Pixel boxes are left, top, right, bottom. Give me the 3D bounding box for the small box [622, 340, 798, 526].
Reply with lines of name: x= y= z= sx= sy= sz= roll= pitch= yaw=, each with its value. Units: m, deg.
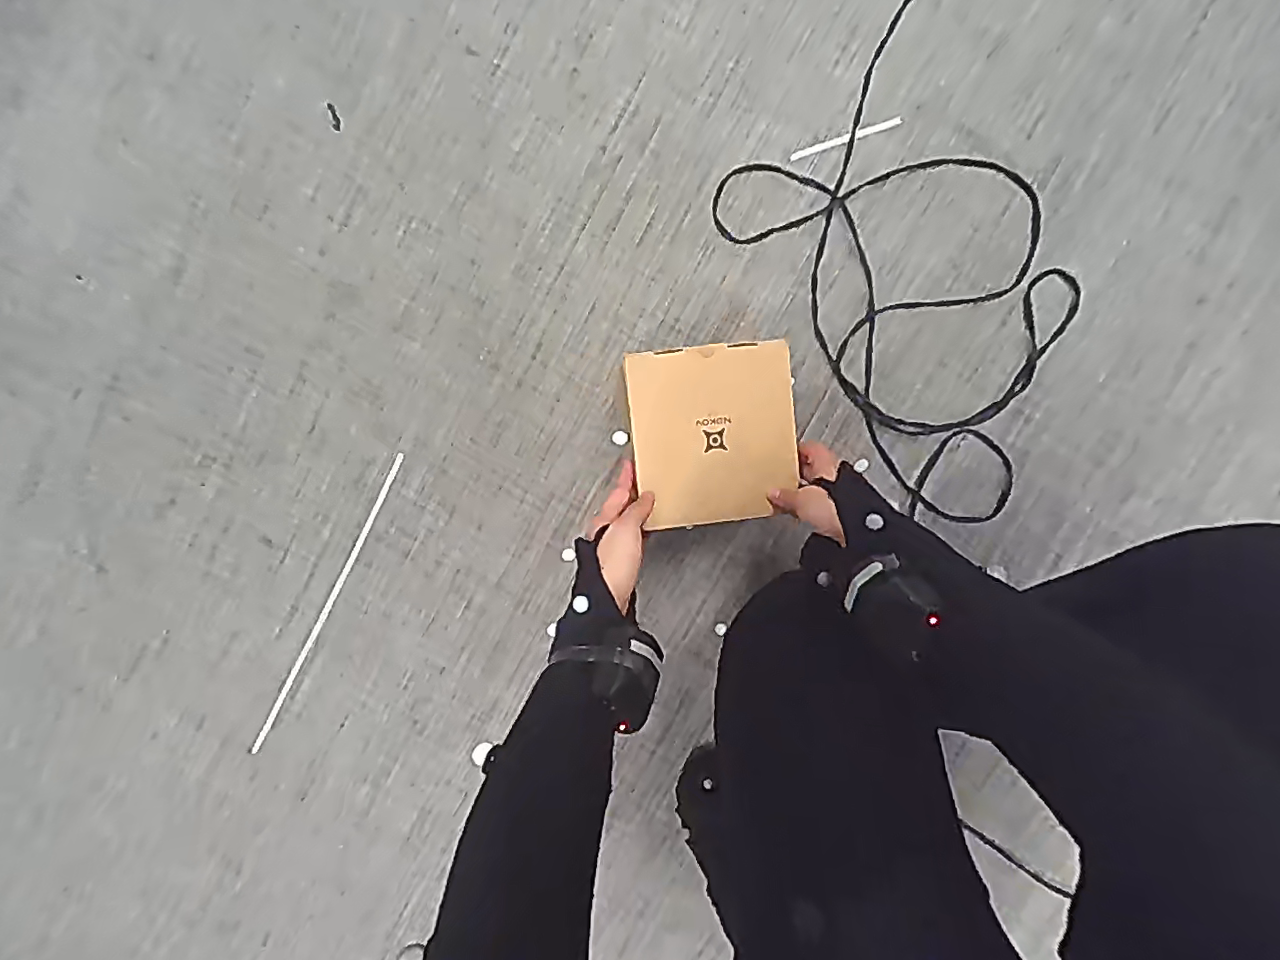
small box: x=0.070 y=-0.052 z=0.625 sx=0.168 sy=0.176 sz=0.179 roll=-6 pitch=93 yaw=-3
